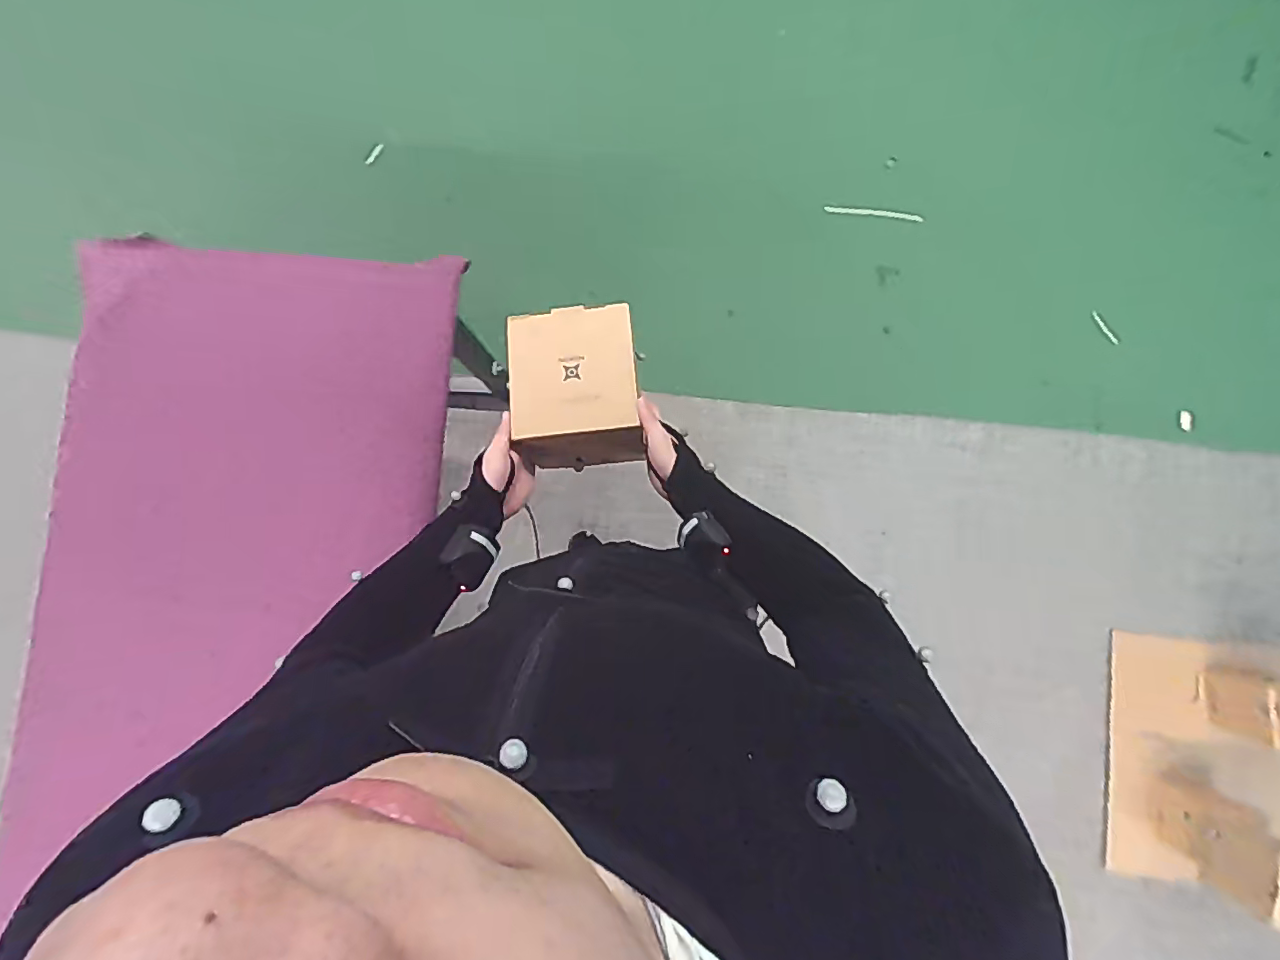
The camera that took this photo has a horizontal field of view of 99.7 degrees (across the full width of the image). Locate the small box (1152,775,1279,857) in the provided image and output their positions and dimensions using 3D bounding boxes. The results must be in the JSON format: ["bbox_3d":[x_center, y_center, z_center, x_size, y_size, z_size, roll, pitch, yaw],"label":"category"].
[{"bbox_3d":[1.577,0.943,1.493,0.179,0.176,0.168,10,86,-1],"label":"small box"}]

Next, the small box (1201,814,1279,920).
[{"bbox_3d":[1.549,0.956,1.326,0.179,0.176,0.168,15,86,-1],"label":"small box"}]

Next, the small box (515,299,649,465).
[{"bbox_3d":[-0.074,-0.130,0.765,0.168,0.176,0.179,-4,77,2],"label":"small box"}]

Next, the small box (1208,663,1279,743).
[{"bbox_3d":[1.772,0.620,1.520,0.179,0.176,0.168,-2,86,-1],"label":"small box"}]
